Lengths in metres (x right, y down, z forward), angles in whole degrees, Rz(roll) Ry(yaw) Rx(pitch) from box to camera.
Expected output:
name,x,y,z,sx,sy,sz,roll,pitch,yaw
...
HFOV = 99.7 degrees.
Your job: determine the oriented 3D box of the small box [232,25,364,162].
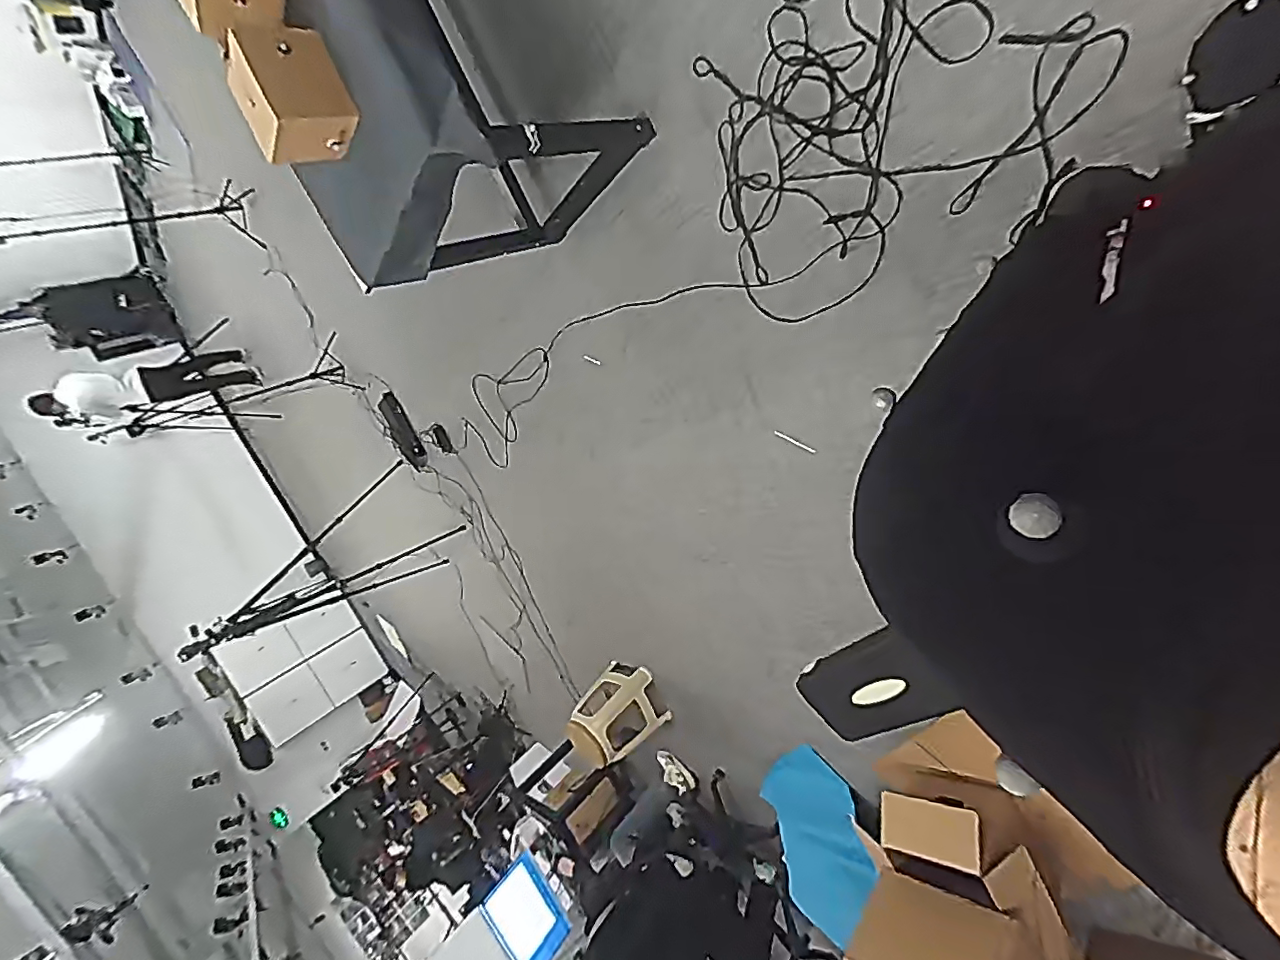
name,x,y,z,sx,sy,sz,roll,pitch,yaw
small box,-0.720,-0.806,1.141,0.168,0.176,0.179,-9,110,52
